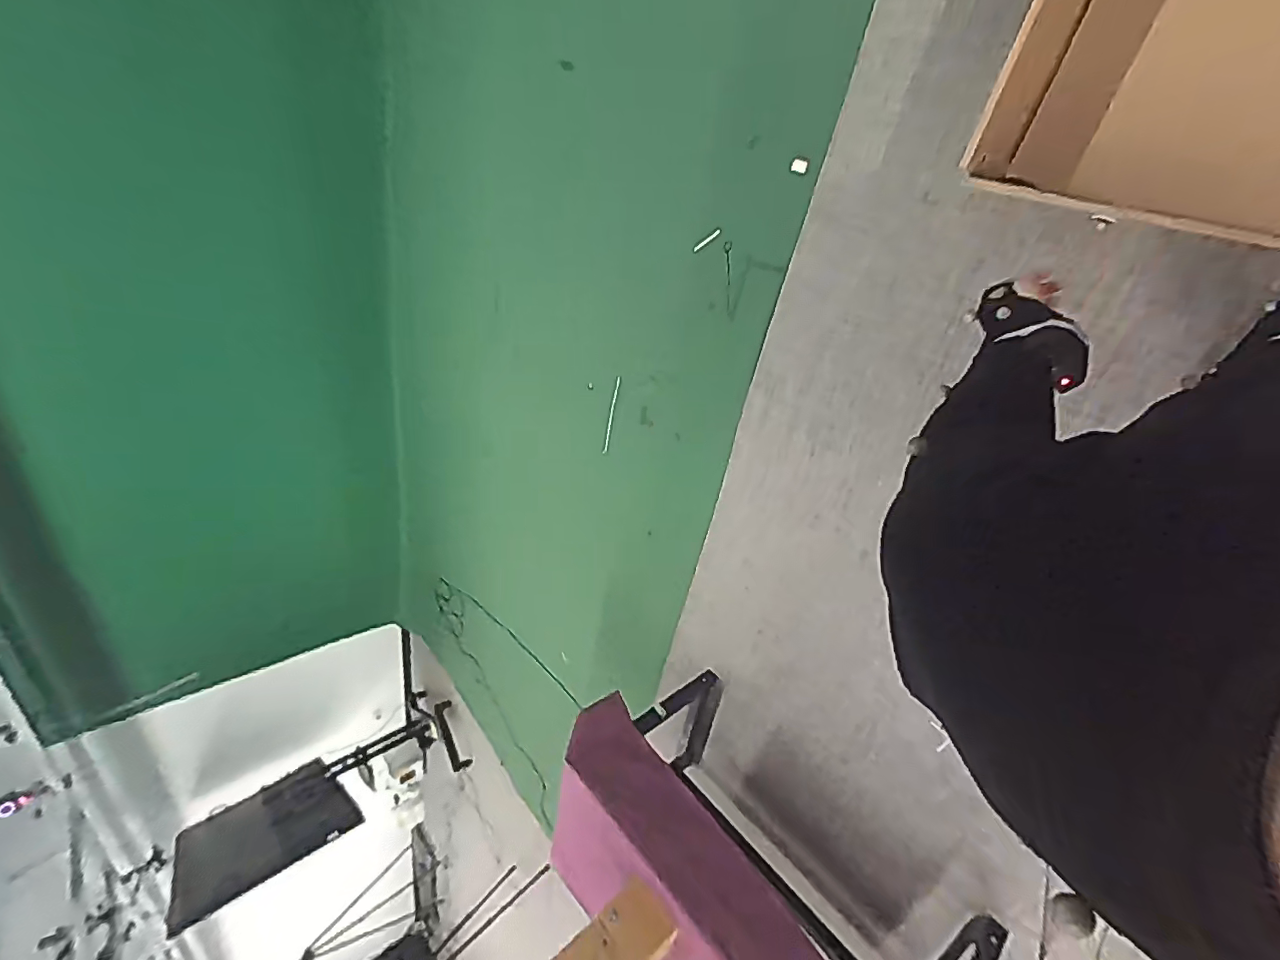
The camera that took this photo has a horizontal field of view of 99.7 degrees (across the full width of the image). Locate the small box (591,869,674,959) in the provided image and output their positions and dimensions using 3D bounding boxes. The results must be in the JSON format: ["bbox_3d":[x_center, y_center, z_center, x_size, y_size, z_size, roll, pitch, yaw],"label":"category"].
[{"bbox_3d":[-0.027,1.268,1.535,0.179,0.176,0.168,37,128,36],"label":"small box"}]

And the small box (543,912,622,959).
[{"bbox_3d":[-0.151,1.307,1.433,0.168,0.176,0.179,40,129,35],"label":"small box"}]
